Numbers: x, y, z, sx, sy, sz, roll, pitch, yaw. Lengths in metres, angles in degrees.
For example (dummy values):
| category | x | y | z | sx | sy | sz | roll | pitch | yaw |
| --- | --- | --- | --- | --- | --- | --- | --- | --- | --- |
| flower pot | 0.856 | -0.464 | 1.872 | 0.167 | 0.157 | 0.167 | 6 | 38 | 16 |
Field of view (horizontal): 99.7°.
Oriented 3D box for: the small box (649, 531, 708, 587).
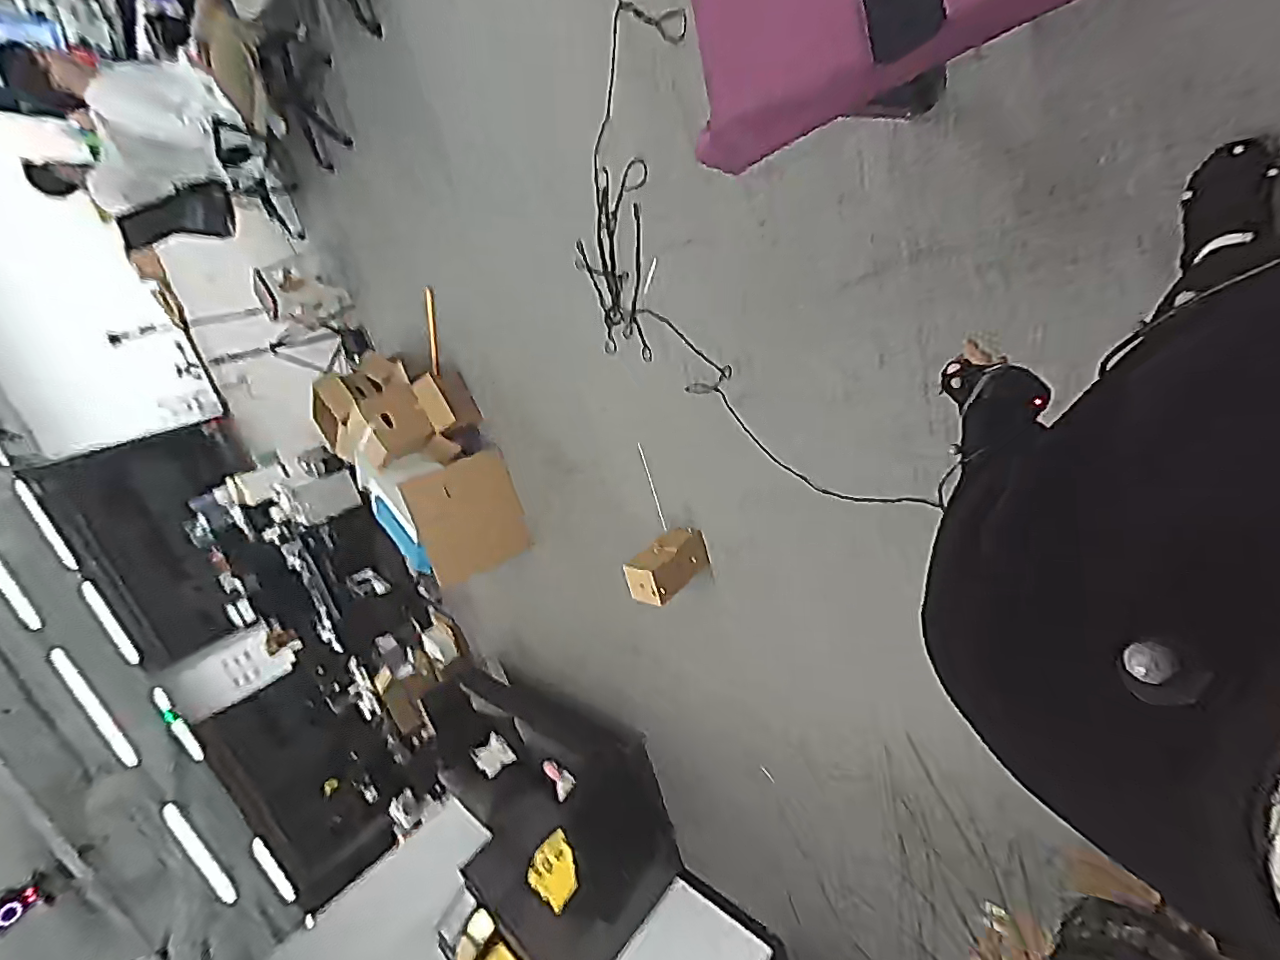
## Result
| category | x | y | z | sx | sy | sz | roll | pitch | yaw |
| --- | --- | --- | --- | --- | --- | --- | --- | --- | --- |
| small box | 0.170 | 0.334 | 2.338 | 0.168 | 0.176 | 0.179 | 2 | 116 | 48 |

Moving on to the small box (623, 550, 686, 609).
| category | x | y | z | sx | sy | sz | roll | pitch | yaw |
| --- | --- | --- | --- | --- | --- | --- | --- | --- | --- |
| small box | 0.061 | 0.406 | 2.238 | 0.179 | 0.176 | 0.168 | 5 | 117 | 47 |
